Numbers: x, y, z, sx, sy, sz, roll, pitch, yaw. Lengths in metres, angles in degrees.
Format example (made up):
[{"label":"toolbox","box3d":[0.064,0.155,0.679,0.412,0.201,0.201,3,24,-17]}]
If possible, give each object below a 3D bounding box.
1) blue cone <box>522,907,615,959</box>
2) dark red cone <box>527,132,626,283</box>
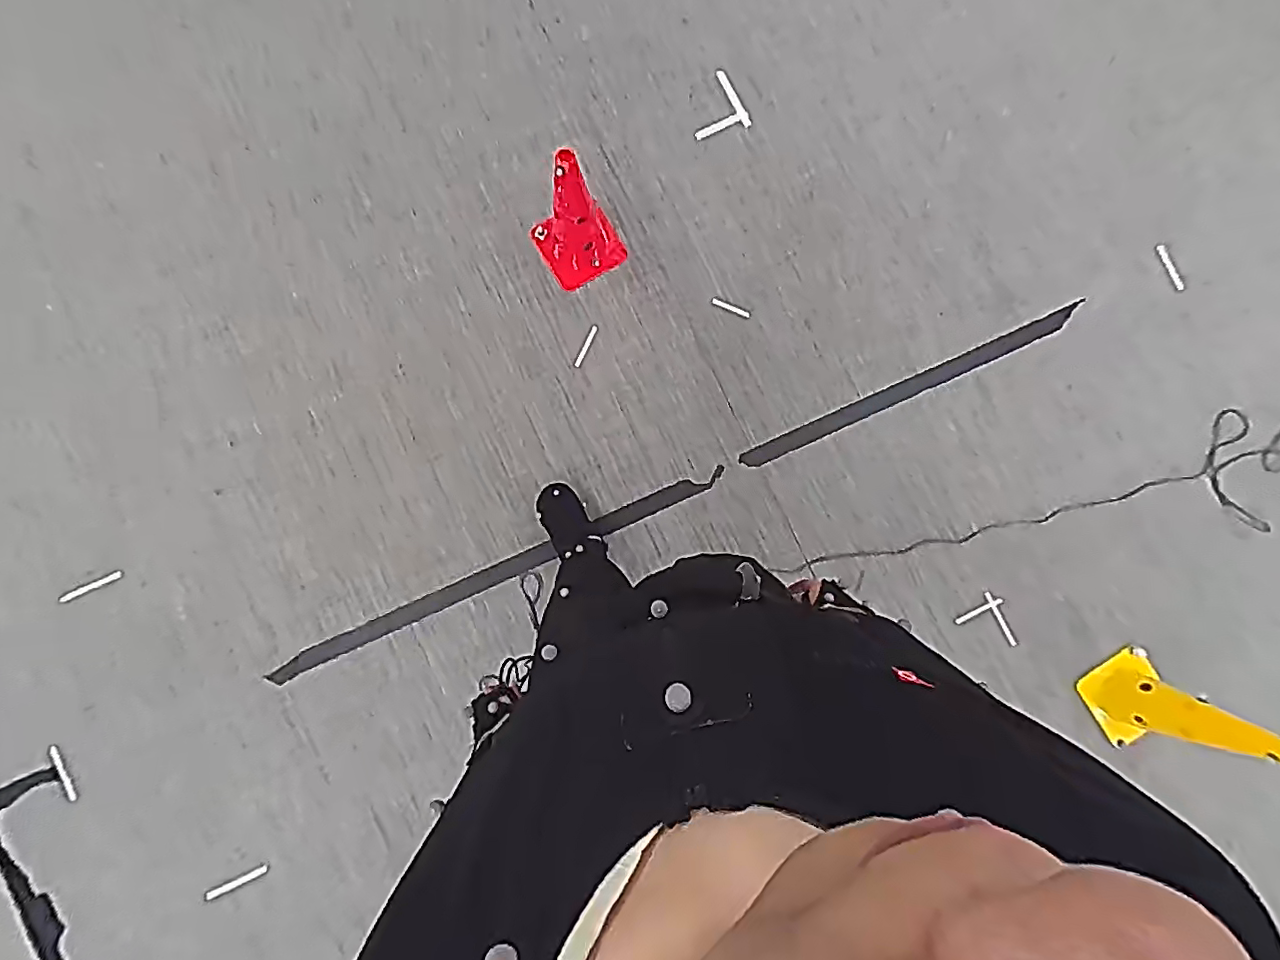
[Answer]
[{"label":"blue cone","box3d":[-0.165,1.127,1.127,0.193,0.380,0.192,-24,88,-3]},{"label":"dark red cone","box3d":[-0.154,-0.631,1.218,0.202,0.394,0.201,-33,89,-4]}]
